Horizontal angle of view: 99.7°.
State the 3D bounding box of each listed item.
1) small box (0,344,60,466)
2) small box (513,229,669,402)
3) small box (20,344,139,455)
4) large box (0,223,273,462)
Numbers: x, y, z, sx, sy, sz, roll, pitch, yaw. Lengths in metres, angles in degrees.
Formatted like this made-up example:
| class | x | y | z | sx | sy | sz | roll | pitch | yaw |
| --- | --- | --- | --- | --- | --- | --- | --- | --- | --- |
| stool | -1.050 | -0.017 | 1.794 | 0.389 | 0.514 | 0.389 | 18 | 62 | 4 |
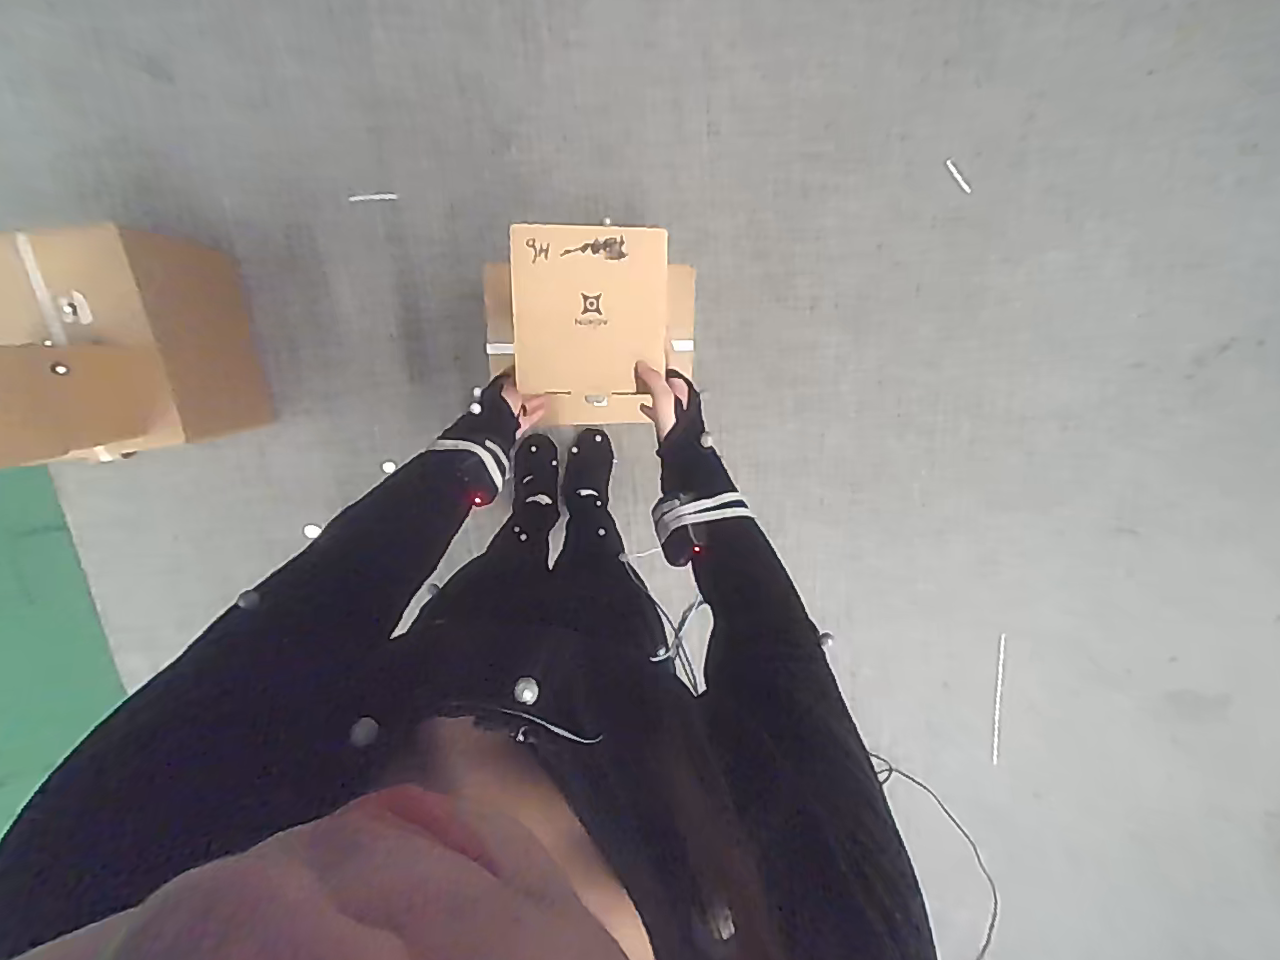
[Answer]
| class | x | y | z | sx | sy | sz | roll | pitch | yaw |
| --- | --- | --- | --- | --- | --- | --- | --- | --- | --- |
| small box | -0.993 | -0.098 | 0.760 | 0.168 | 0.176 | 0.179 | -6 | 103 | -5 |
| small box | -0.060 | -0.192 | 0.660 | 0.168 | 0.176 | 0.179 | 0 | 103 | -6 |
| small box | -1.017 | -0.136 | 0.920 | 0.168 | 0.176 | 0.179 | -5 | 103 | -4 |
| large box | -1.059 | -0.275 | 1.135 | 0.320 | 0.320 | 0.408 | -7 | 103 | -4 |
